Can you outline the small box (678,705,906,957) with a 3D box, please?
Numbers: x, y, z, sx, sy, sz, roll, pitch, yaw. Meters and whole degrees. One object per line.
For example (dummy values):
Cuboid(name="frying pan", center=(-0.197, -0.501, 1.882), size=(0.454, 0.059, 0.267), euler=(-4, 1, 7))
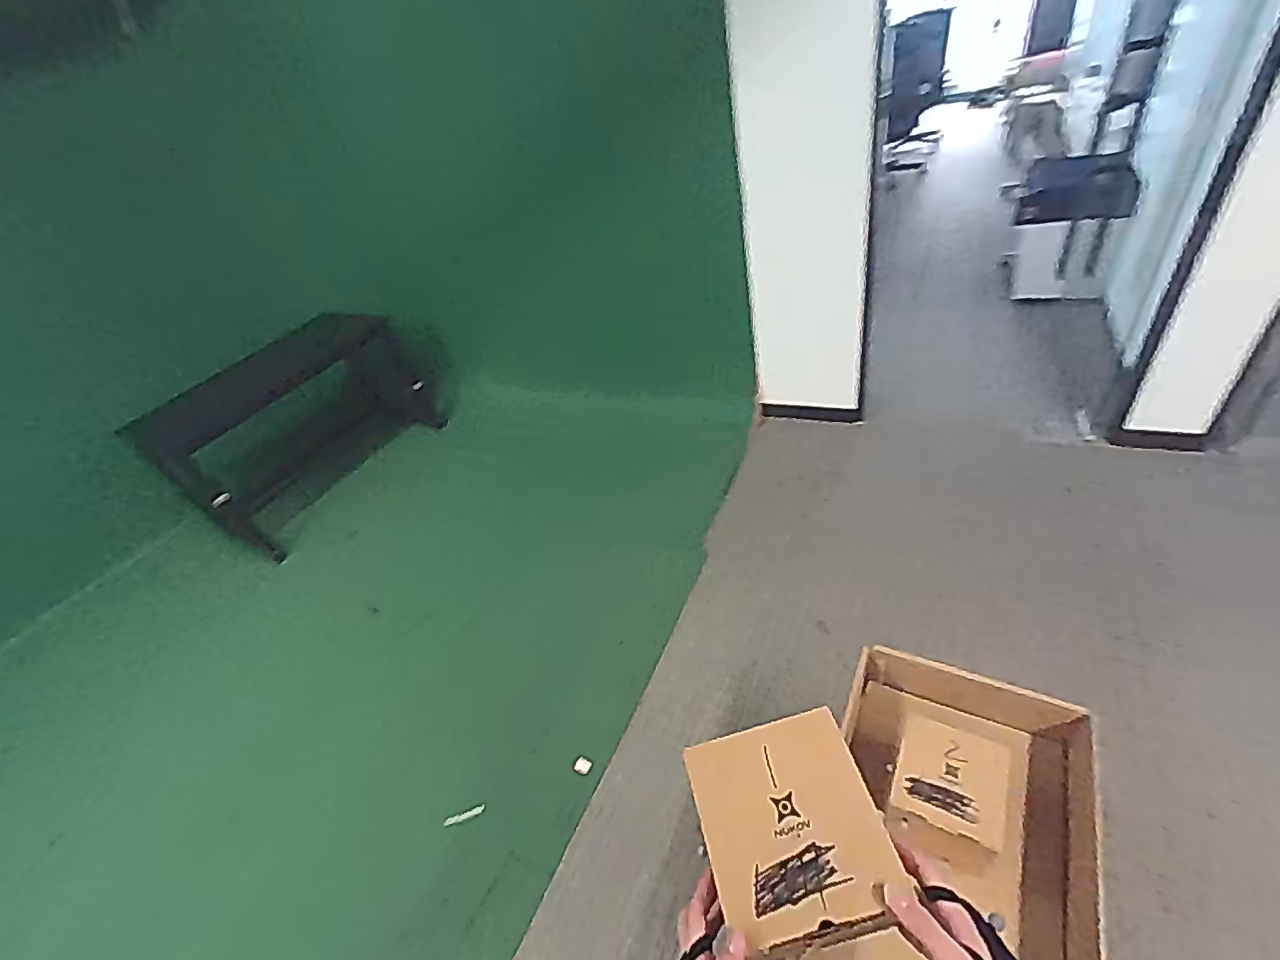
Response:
Cuboid(name="small box", center=(0.150, 0.375, 0.573), size=(0.168, 0.176, 0.179), euler=(-16, 44, -1))
